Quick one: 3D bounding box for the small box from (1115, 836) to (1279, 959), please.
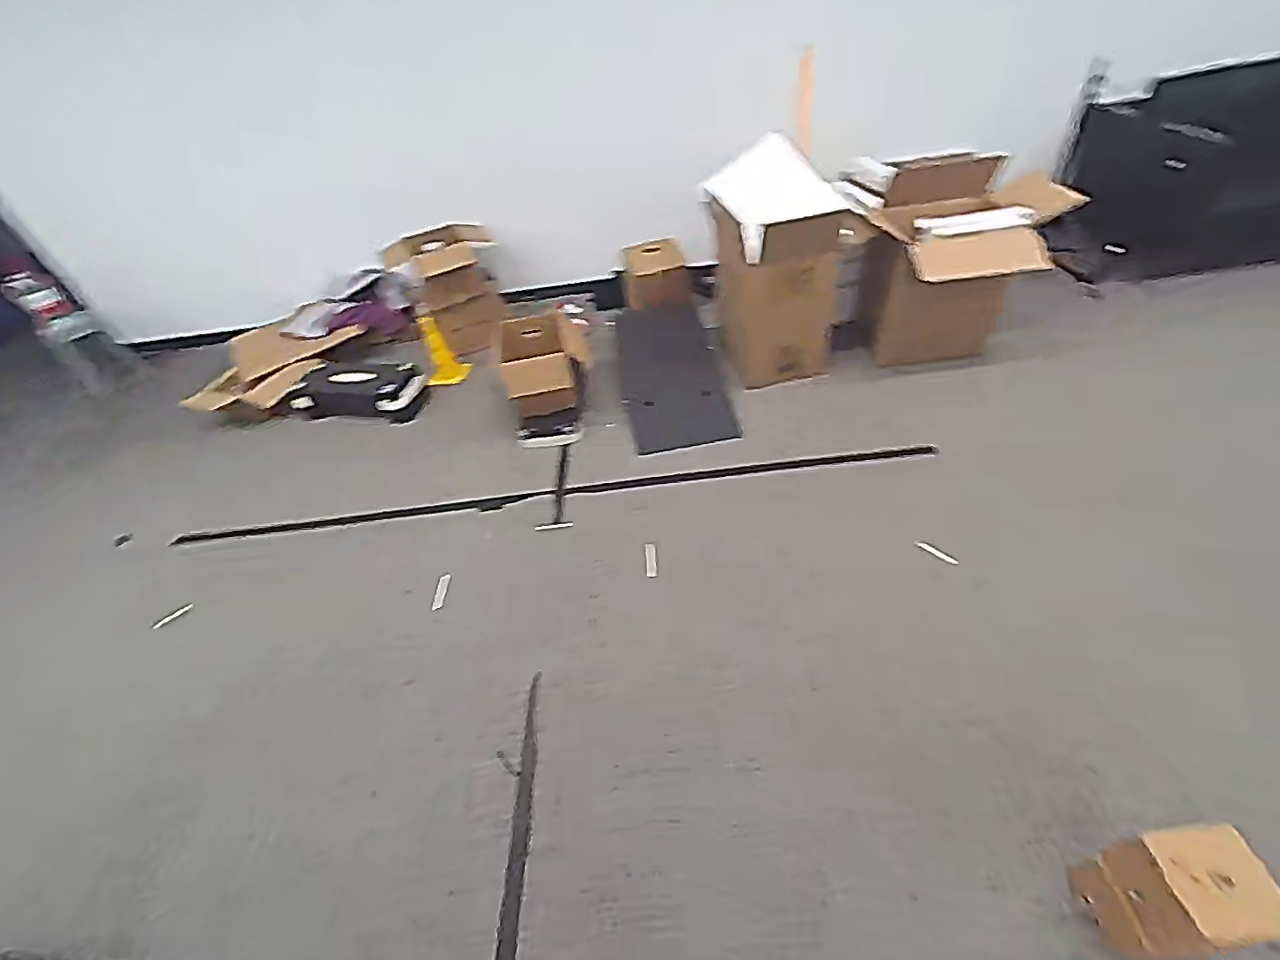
[{"bbox_3d":[1.060,0.786,1.008,0.179,0.176,0.168,-7,42,4],"label":"small box"}]

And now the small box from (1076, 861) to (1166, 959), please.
[{"bbox_3d":[1.071,0.906,1.121,0.179,0.176,0.168,-6,42,3],"label":"small box"}]
